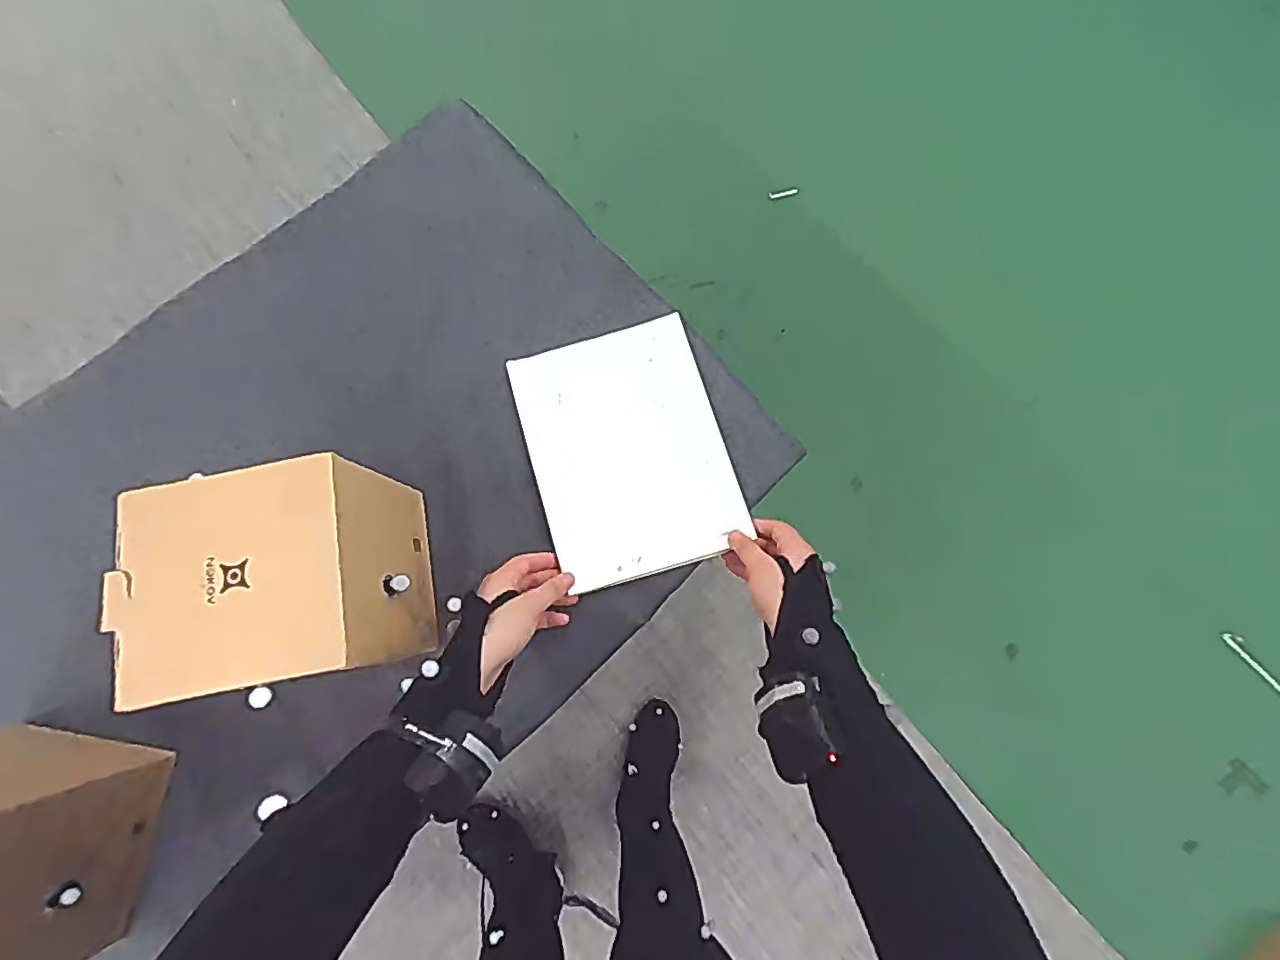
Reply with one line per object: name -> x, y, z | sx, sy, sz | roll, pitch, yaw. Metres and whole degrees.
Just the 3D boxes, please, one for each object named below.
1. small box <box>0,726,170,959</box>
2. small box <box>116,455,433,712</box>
small box -> -0.555, 0.318, 0.446 | 0.179, 0.176, 0.168 | 8, 79, 4
small box -> -0.301, 0.088, 0.482 | 0.179, 0.176, 0.168 | -12, 79, 1
